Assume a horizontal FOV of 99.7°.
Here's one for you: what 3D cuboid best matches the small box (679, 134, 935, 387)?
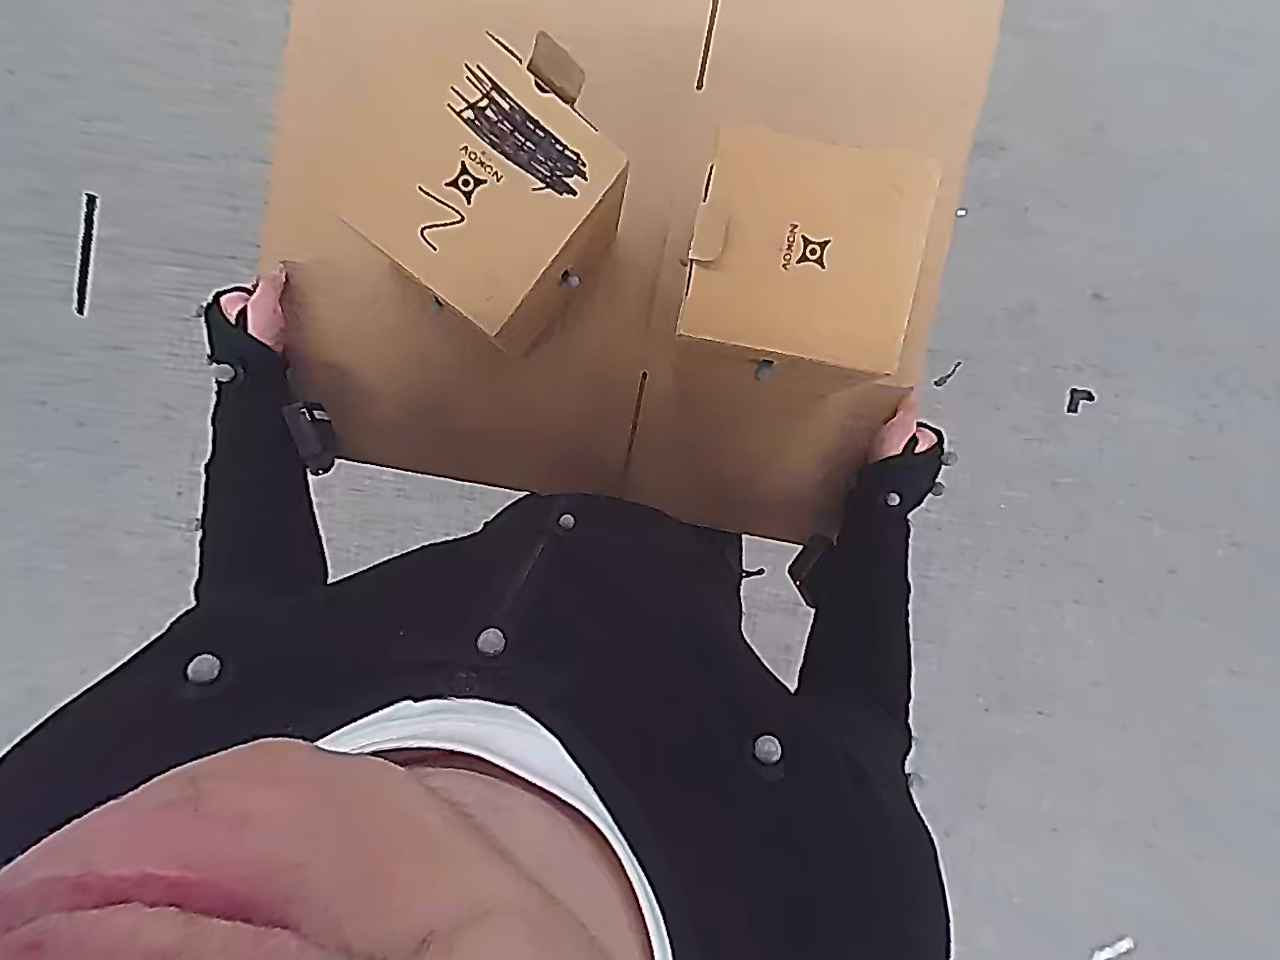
[{"bbox_3d":[0.138,-0.187,0.516,0.179,0.176,0.168,11,94,3],"label":"small box"}]
